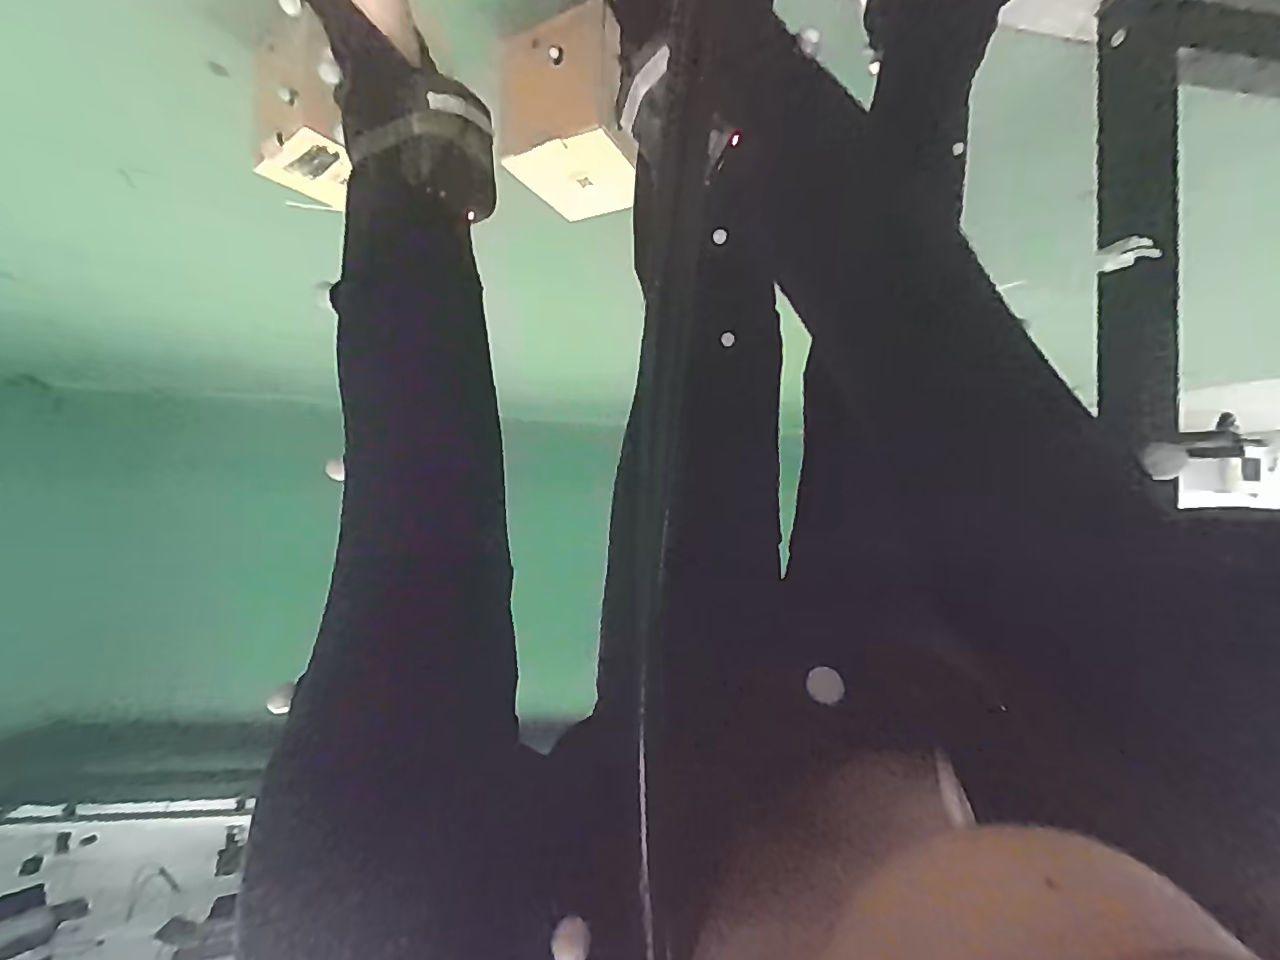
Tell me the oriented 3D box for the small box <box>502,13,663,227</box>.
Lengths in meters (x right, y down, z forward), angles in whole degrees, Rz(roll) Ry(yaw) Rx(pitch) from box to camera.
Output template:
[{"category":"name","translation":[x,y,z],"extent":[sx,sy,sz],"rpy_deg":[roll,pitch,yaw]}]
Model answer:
[{"category":"small box","translation":[-0.073,-0.496,0.771],"extent":[0.168,0.176,0.179],"rpy_deg":[1,176,28]}]
